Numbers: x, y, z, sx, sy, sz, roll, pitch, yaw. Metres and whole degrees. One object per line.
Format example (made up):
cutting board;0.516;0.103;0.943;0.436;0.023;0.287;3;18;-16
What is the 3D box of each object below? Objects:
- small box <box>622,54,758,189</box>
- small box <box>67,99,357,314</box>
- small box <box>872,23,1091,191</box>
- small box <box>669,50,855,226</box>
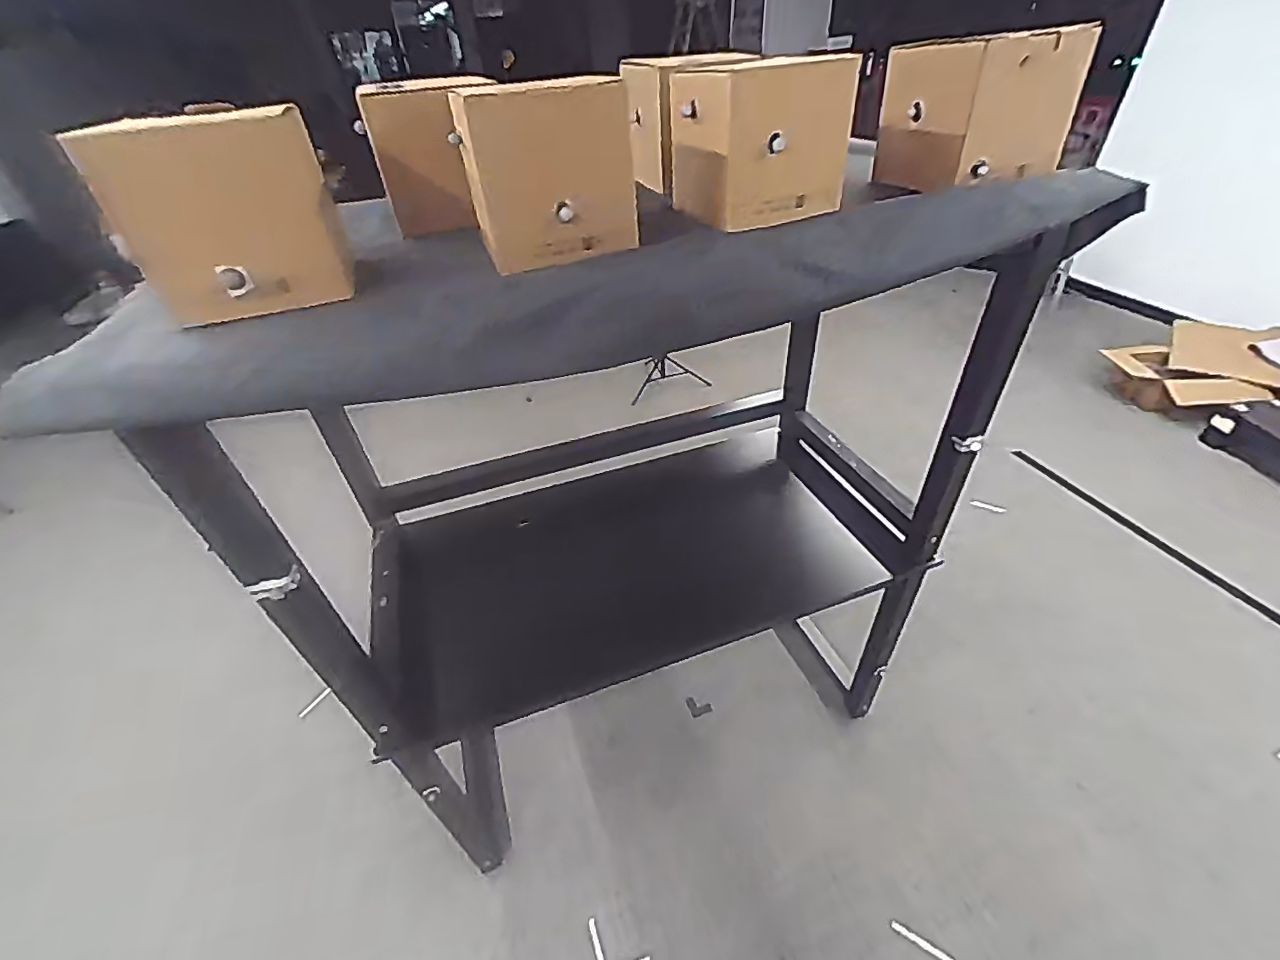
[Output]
small box;0.077;-0.592;0.895;0.168;0.176;0.179;-16;40;-13
small box;-0.415;-0.290;0.569;0.168;0.176;0.179;-18;39;-15
small box;0.453;-0.509;0.750;0.168;0.176;0.179;-14;37;-11
small box;0.148;-0.440;0.703;0.168;0.176;0.179;-15;38;-13
